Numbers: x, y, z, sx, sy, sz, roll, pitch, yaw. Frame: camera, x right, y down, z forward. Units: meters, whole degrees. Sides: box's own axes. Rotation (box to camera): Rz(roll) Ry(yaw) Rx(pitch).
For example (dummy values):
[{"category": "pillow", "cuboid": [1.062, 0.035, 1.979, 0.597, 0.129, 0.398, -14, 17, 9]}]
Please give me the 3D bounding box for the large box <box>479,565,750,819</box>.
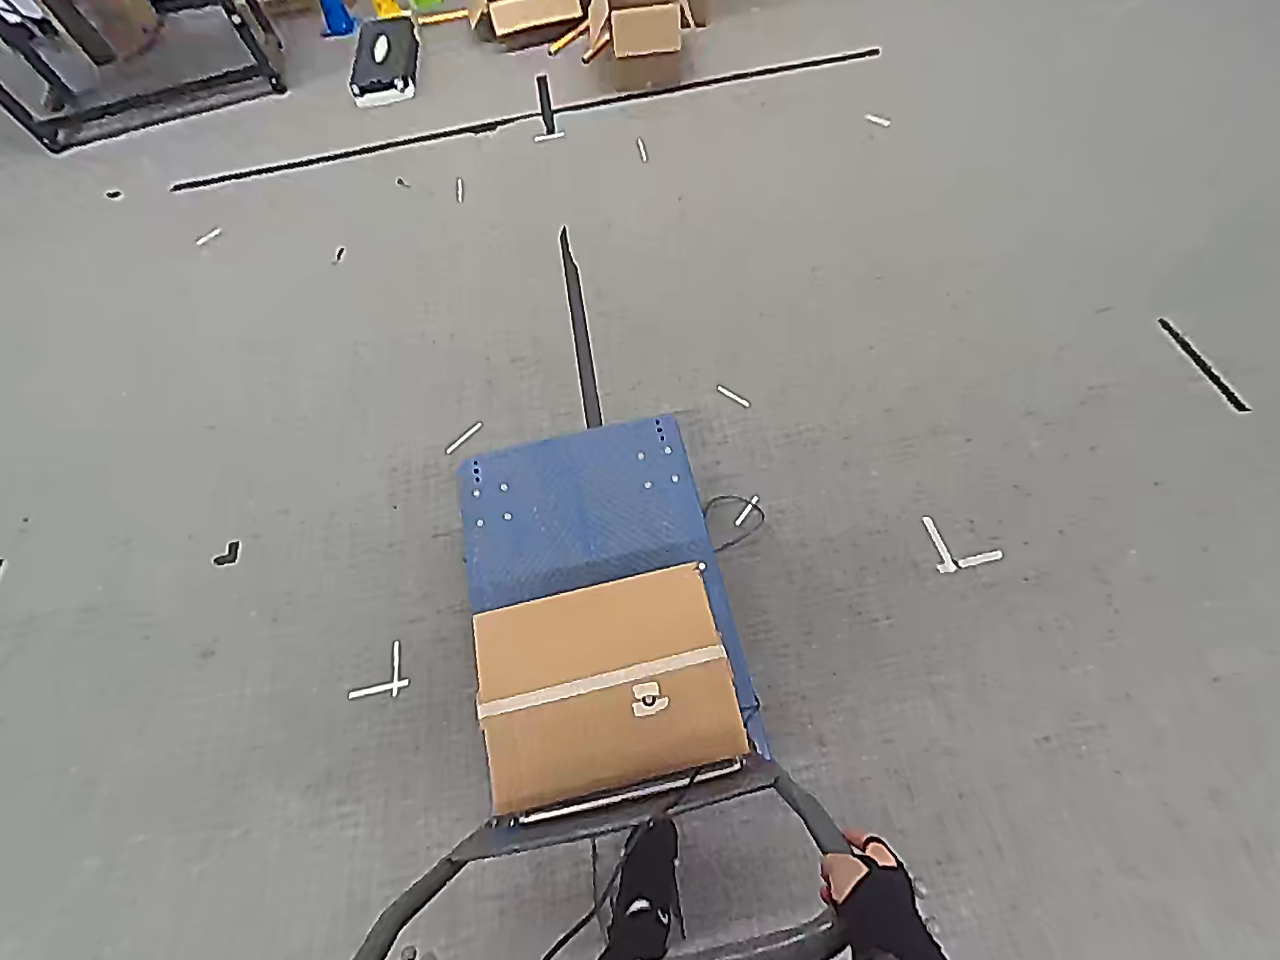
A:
[{"category": "large box", "cuboid": [-0.049, 0.393, 1.029, 0.408, 0.320, 0.320, -13, 68, -3]}]
